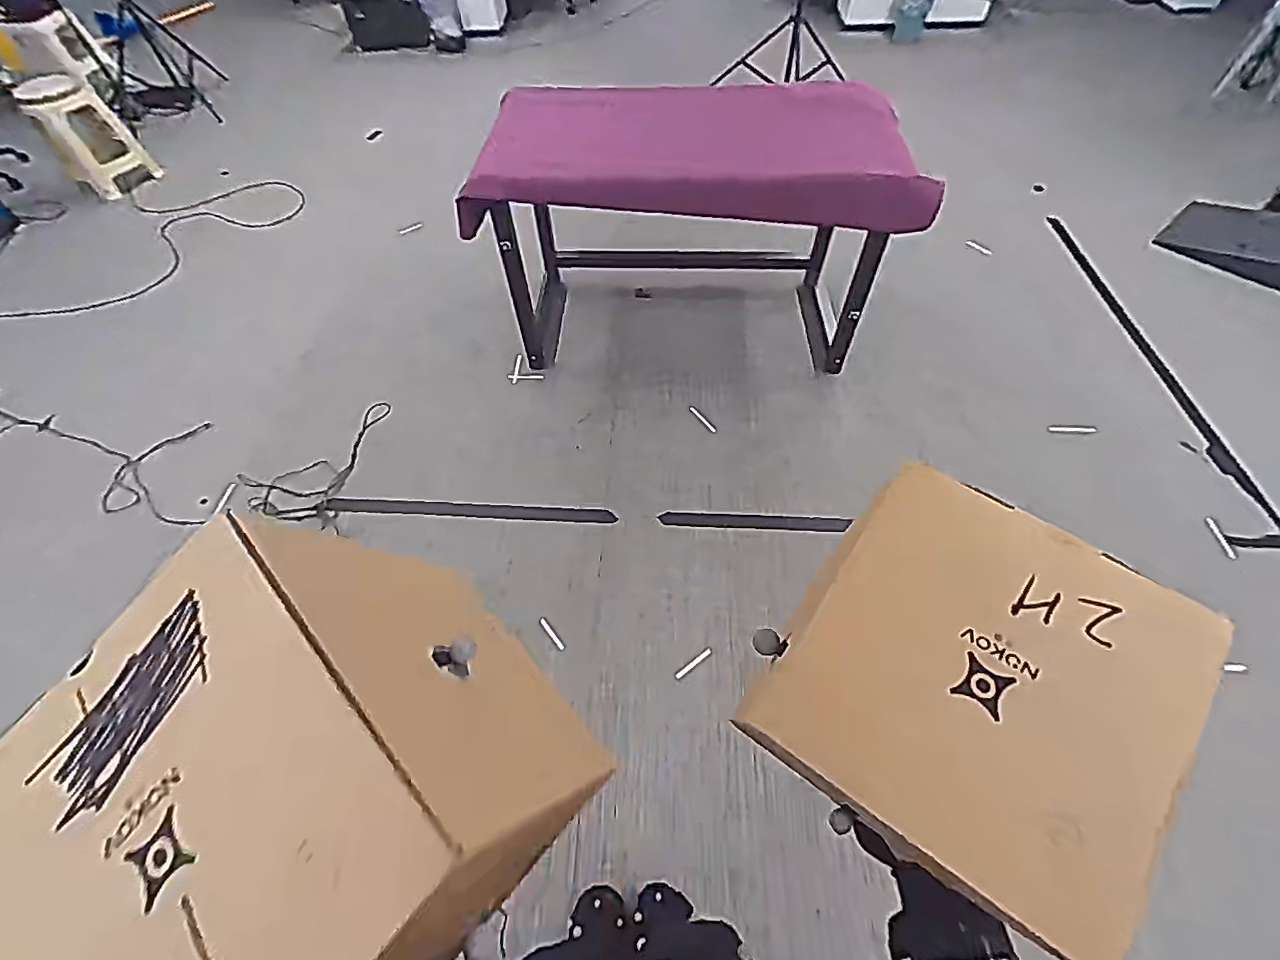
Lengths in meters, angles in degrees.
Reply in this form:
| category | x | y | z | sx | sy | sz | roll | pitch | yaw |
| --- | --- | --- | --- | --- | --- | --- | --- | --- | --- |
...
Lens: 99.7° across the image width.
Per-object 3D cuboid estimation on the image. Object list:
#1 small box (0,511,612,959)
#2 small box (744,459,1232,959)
| category | x | y | z | sx | sy | sz | roll | pitch | yaw |
| --- | --- | --- | --- | --- | --- | --- | --- | --- | --- |
| small box | -0.143 | 0.147 | 0.267 | 0.179 | 0.176 | 0.168 | 38 | 85 | 22 |
| small box | 0.177 | 0.126 | 0.334 | 0.168 | 0.176 | 0.179 | 32 | 72 | 17 |
